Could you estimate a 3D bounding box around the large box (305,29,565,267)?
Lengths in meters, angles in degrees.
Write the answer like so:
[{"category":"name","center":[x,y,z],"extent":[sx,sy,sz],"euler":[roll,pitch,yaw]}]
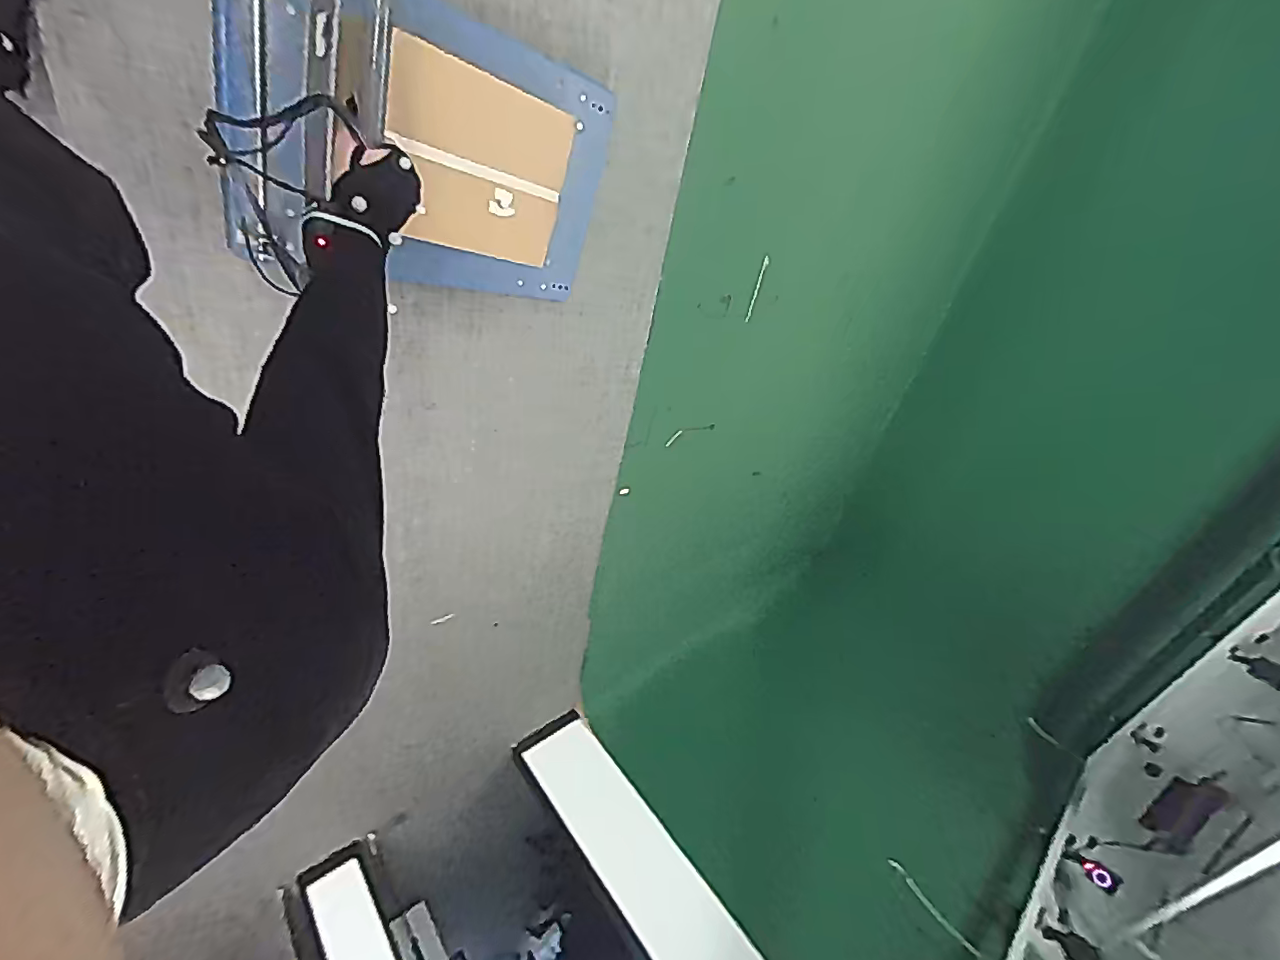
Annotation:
[{"category":"large box","center":[-0.437,-0.678,1.139],"extent":[0.408,0.320,0.320],"euler":[-7,126,-46]}]
